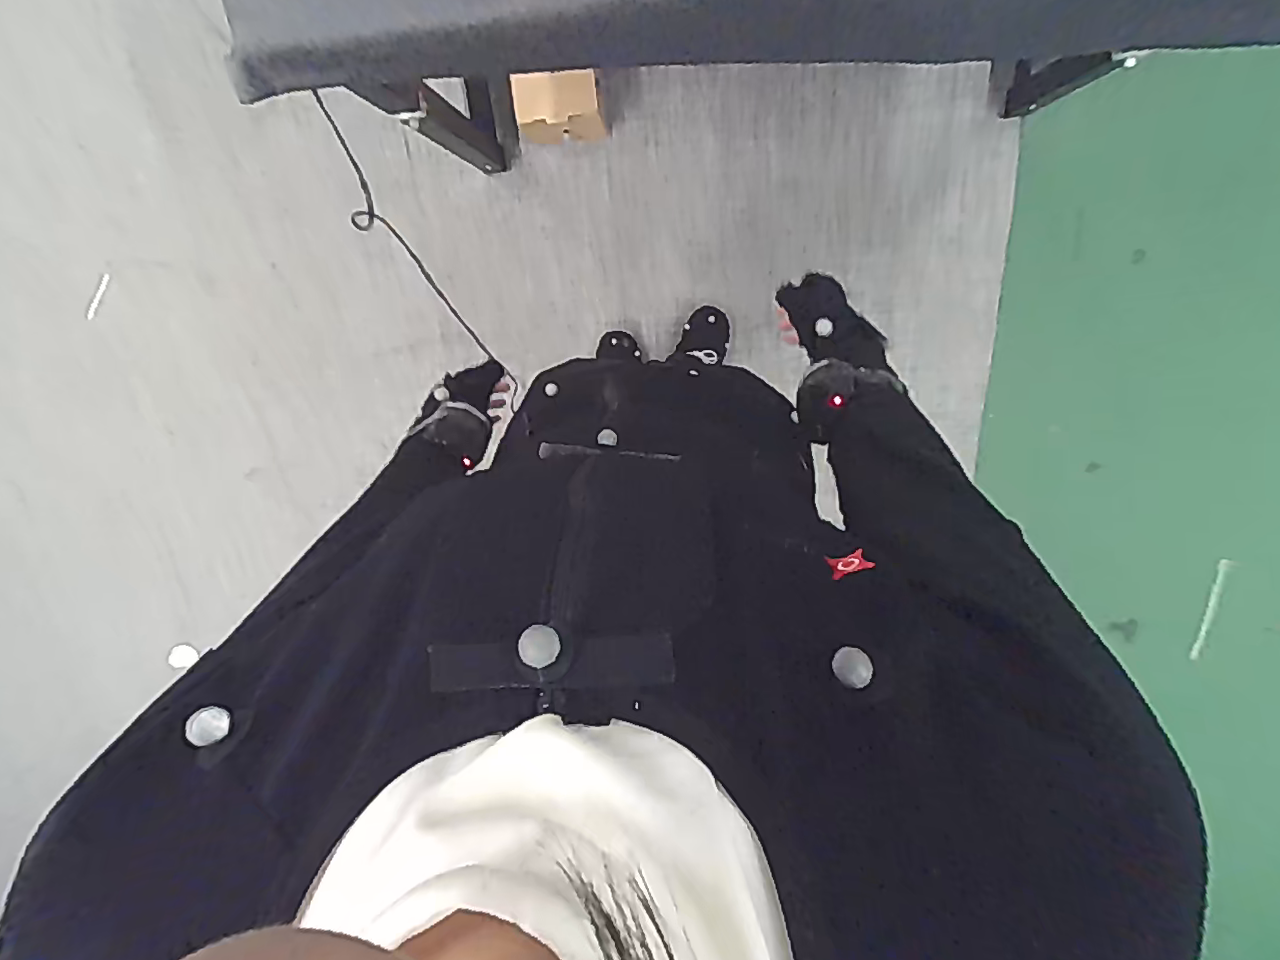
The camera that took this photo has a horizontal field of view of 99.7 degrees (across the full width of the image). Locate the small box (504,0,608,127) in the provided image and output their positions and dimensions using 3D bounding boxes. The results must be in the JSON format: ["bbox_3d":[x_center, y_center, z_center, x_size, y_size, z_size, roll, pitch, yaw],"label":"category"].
[{"bbox_3d":[-0.160,-0.836,1.096,0.168,0.176,0.179,-3,110,5],"label":"small box"}]
